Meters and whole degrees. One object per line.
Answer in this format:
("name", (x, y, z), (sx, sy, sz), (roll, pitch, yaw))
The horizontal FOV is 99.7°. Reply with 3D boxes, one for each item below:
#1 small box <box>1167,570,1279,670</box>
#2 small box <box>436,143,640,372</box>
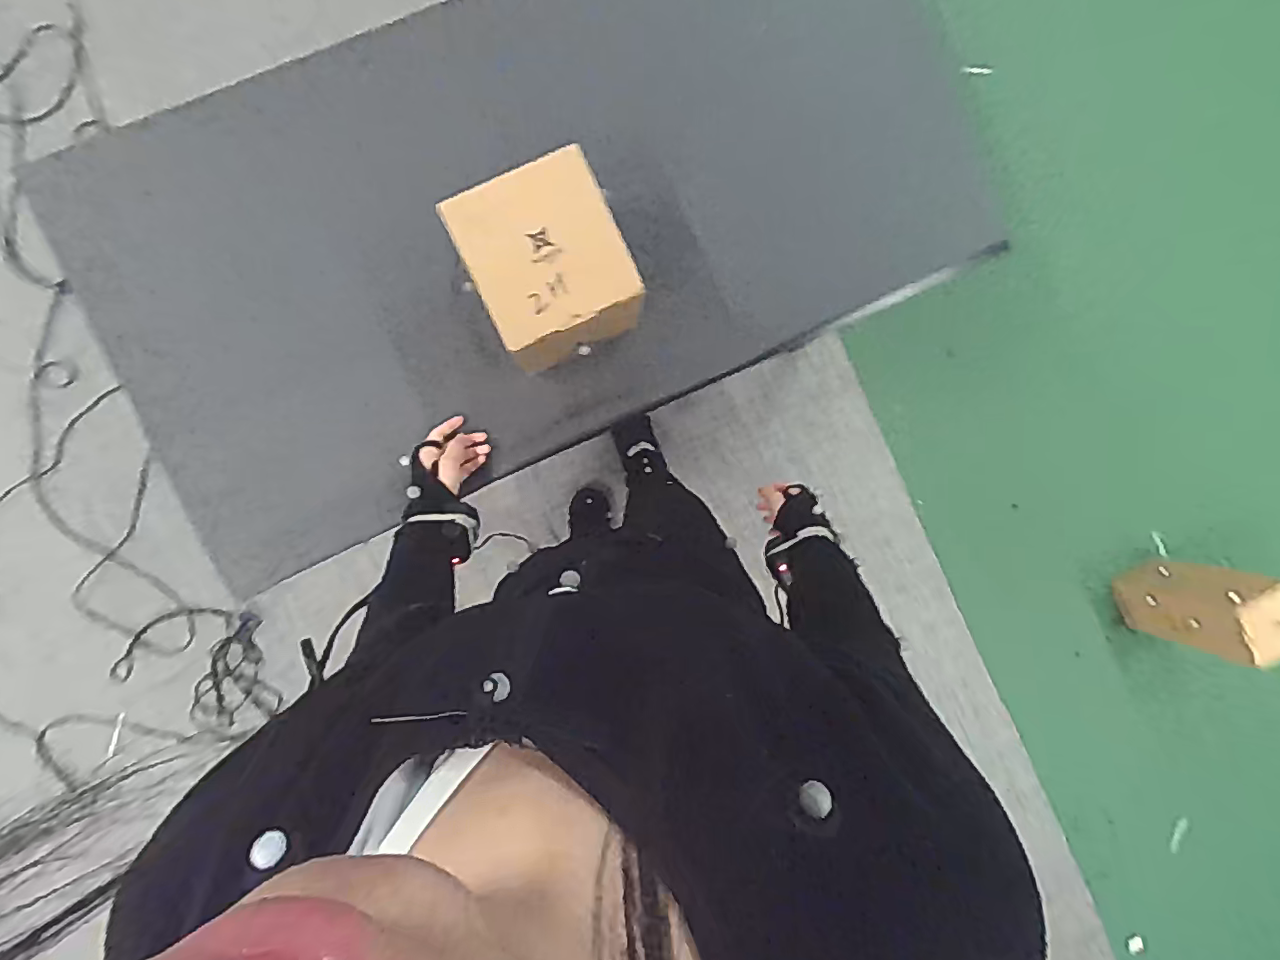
("small box", (1.541, 0.352, 1.397), (0.179, 0.176, 0.168), (-26, 94, -4))
("small box", (-0.115, -0.252, 0.657), (0.168, 0.176, 0.179), (-26, 94, -3))
